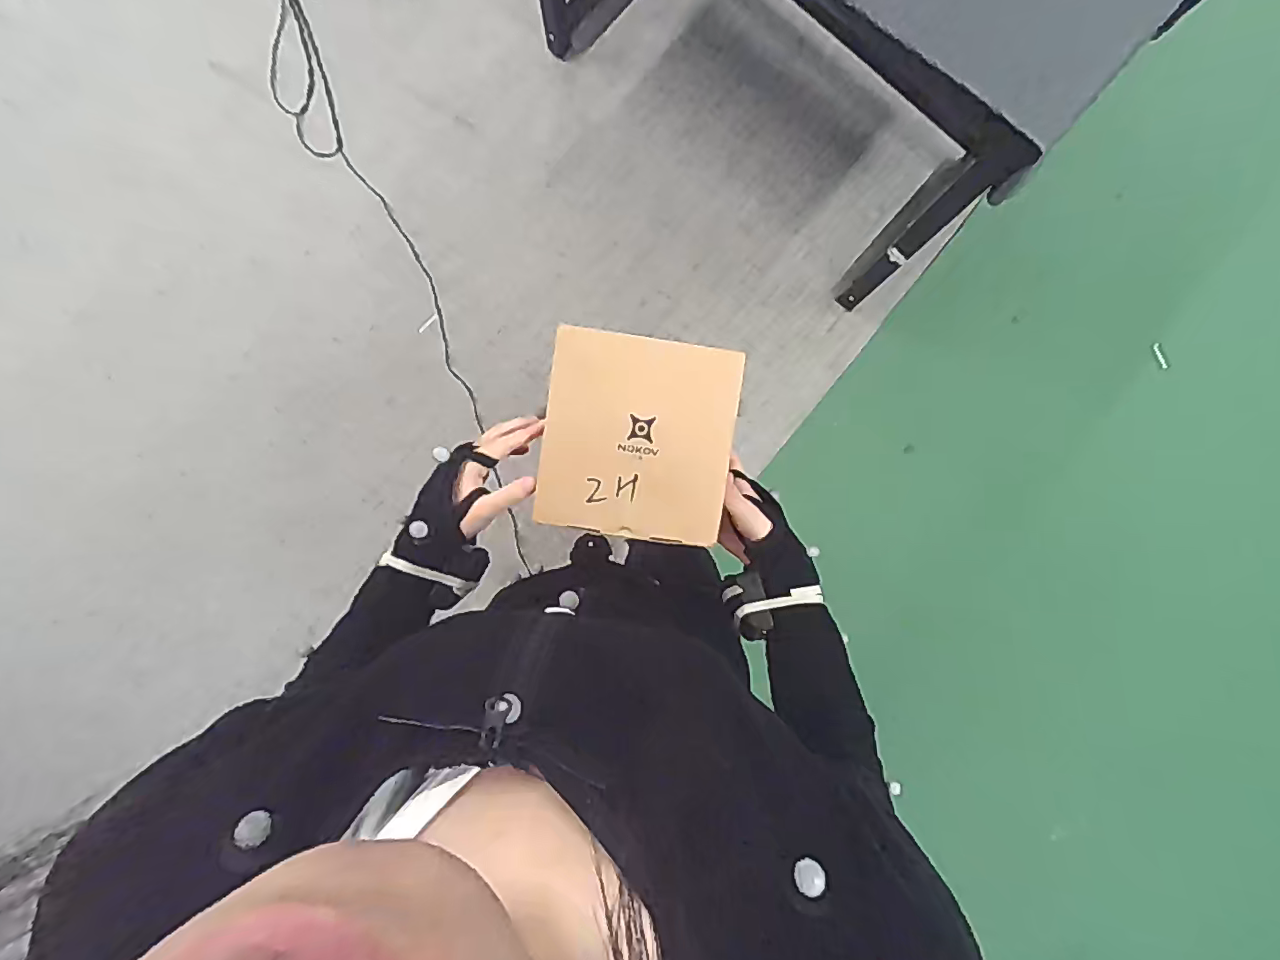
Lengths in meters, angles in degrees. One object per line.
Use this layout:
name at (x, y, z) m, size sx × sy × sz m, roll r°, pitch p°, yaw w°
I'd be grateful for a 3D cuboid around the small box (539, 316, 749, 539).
small box at (0.000, -0.049, 0.555) m, size 0.168 × 0.176 × 0.179 m, roll 9°, pitch 94°, yaw -2°
